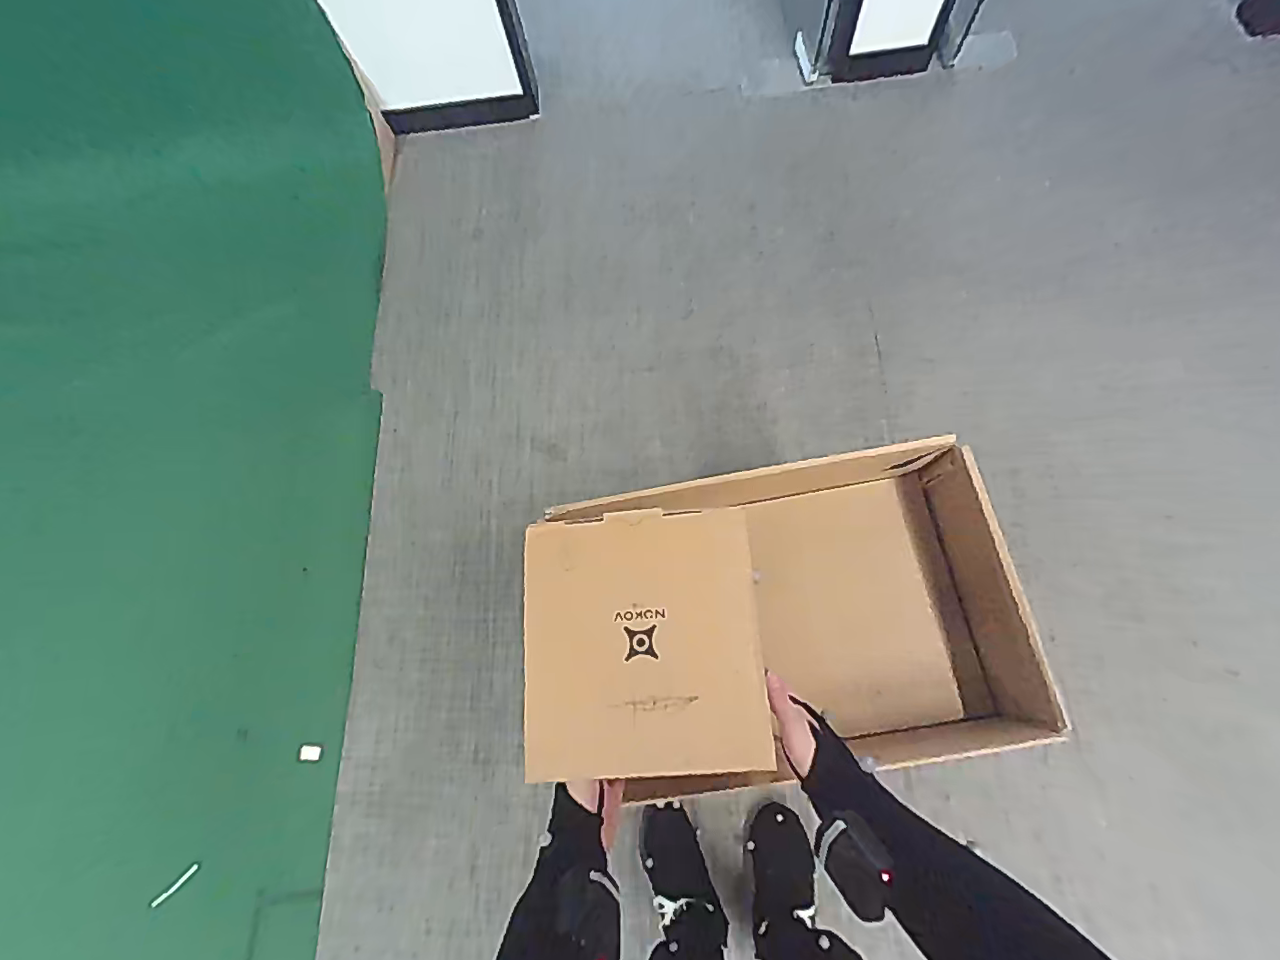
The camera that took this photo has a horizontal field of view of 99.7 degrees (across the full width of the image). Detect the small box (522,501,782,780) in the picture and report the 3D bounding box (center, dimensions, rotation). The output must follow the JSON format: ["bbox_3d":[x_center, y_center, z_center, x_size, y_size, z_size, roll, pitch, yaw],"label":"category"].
[{"bbox_3d":[0.010,0.126,0.437,0.168,0.176,0.179,-4,73,5],"label":"small box"}]
